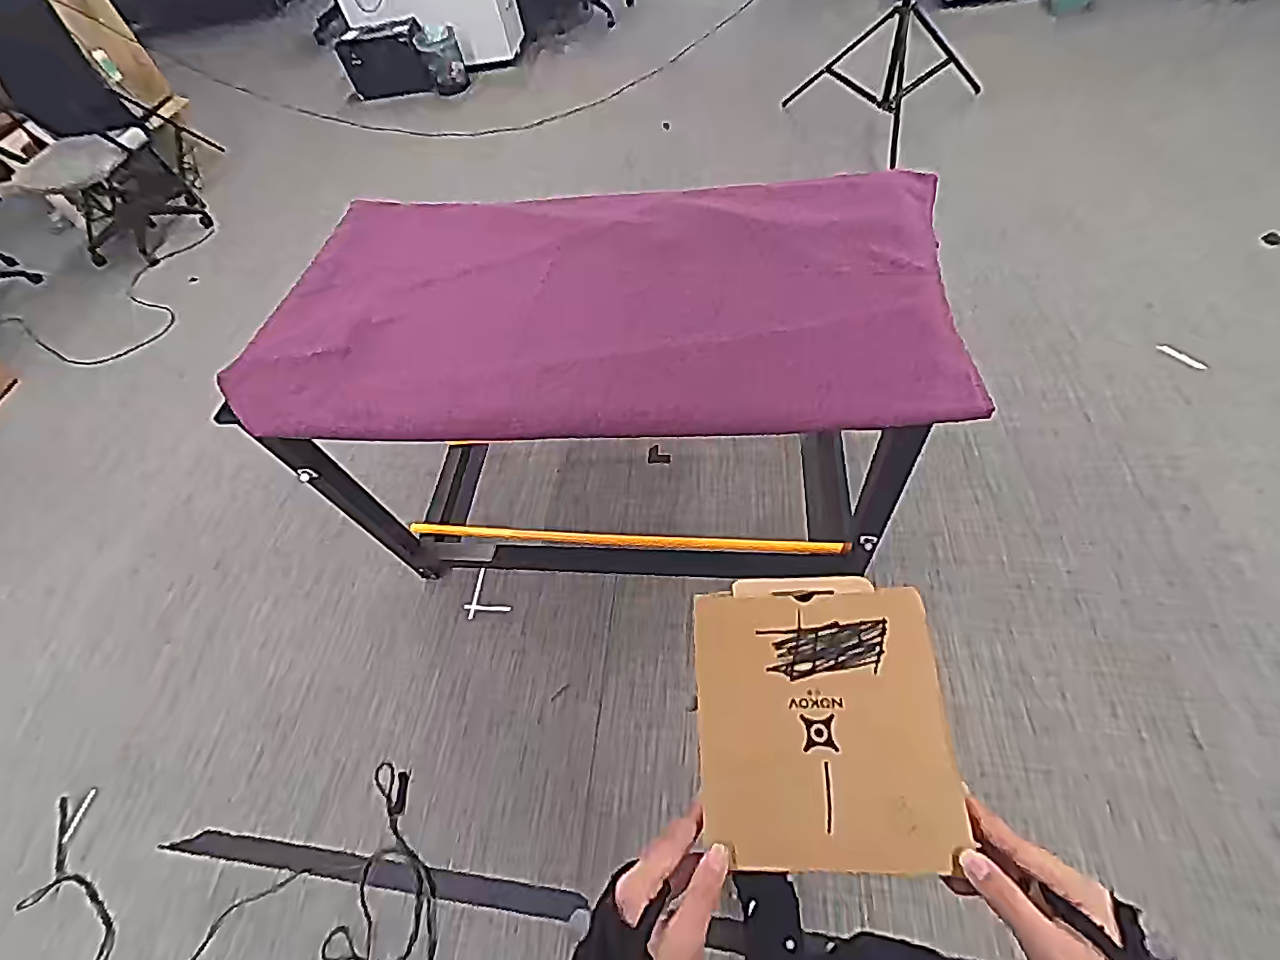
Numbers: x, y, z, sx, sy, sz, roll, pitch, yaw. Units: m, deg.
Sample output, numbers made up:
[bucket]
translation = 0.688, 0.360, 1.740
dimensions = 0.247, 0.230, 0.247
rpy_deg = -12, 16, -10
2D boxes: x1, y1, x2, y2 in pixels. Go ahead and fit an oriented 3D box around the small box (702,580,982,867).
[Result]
[small box]
translation = 0.137, 0.189, 0.440
dimensions = 0.168, 0.176, 0.179
rpy_deg = -4, 66, 8
